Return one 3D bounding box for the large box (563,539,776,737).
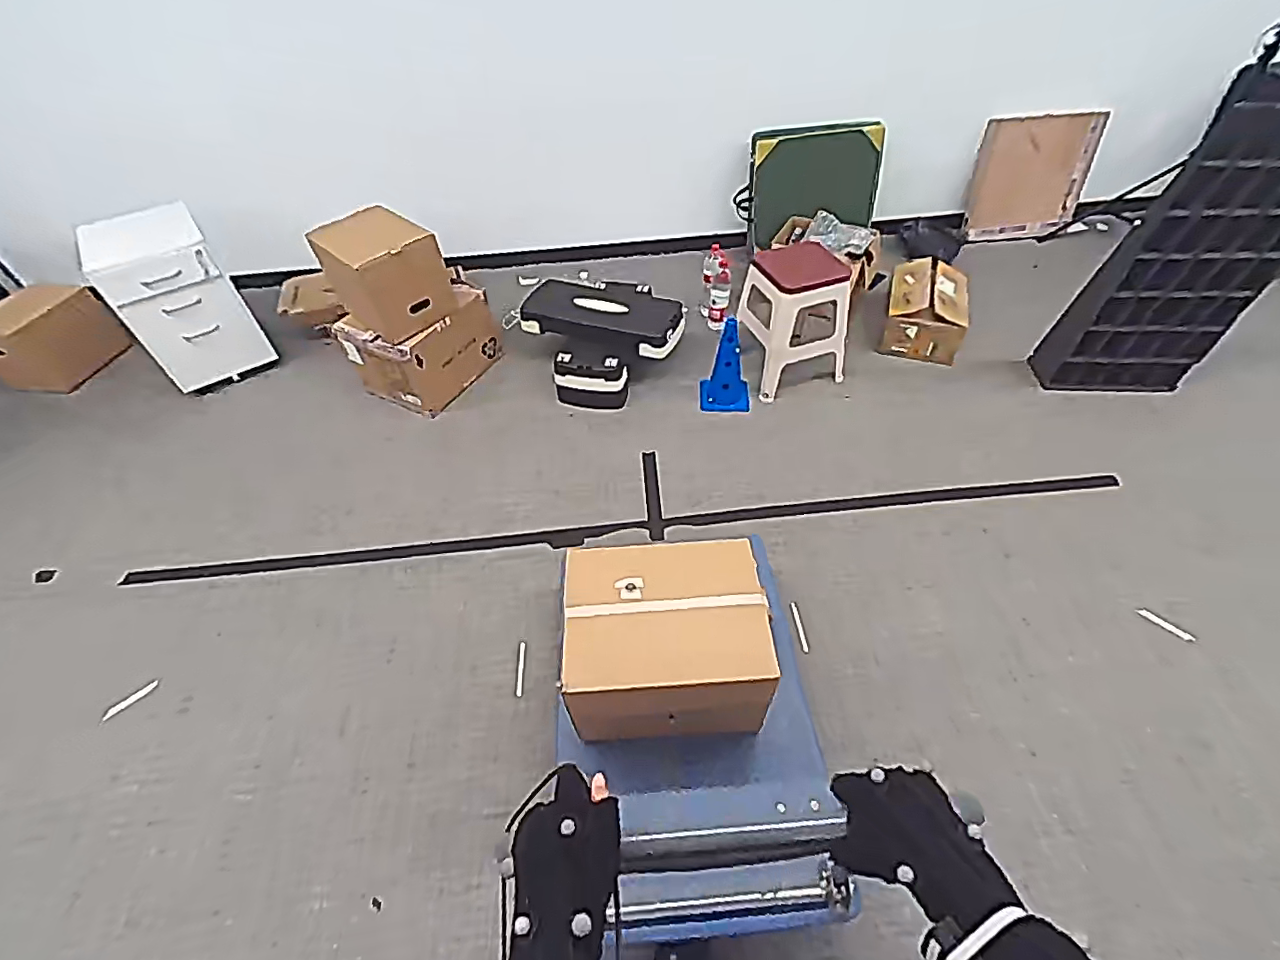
[{"bbox_3d":[0.055,0.357,1.204,0.408,0.320,0.320,-4,49,0],"label":"large box"}]
